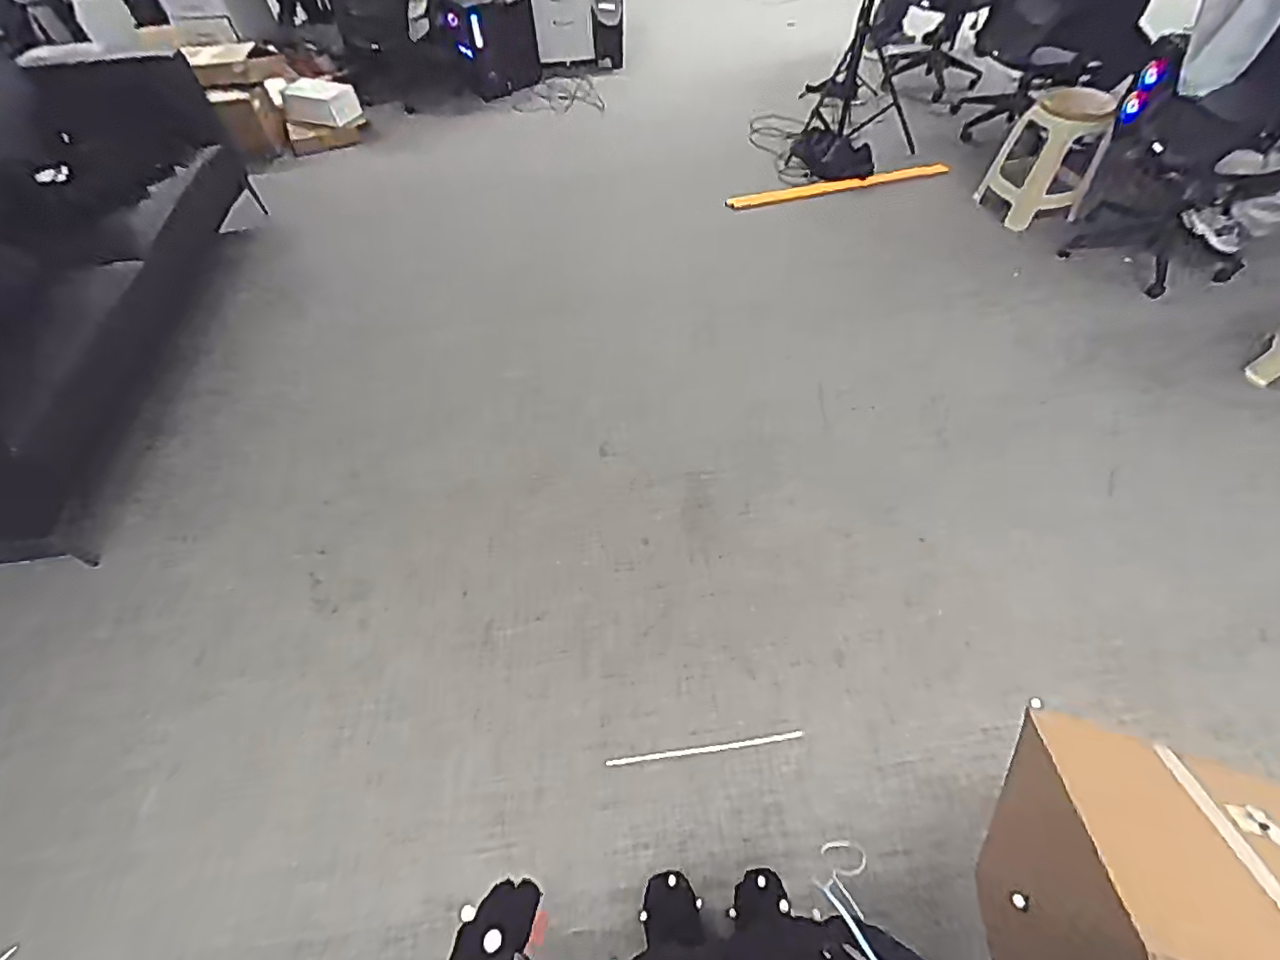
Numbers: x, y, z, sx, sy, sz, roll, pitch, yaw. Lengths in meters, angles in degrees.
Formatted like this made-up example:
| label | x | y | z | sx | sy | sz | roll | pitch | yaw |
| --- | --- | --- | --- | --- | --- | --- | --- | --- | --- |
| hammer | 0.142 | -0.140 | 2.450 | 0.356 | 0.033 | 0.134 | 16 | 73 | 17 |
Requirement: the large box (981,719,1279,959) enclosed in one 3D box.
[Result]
| label | x | y | z | sx | sy | sz | roll | pitch | yaw |
| --- | --- | --- | --- | --- | --- | --- | --- | --- | --- |
| large box | 0.638 | 0.566 | 0.622 | 0.320 | 0.320 | 0.408 | 14 | 13 | 21 |
